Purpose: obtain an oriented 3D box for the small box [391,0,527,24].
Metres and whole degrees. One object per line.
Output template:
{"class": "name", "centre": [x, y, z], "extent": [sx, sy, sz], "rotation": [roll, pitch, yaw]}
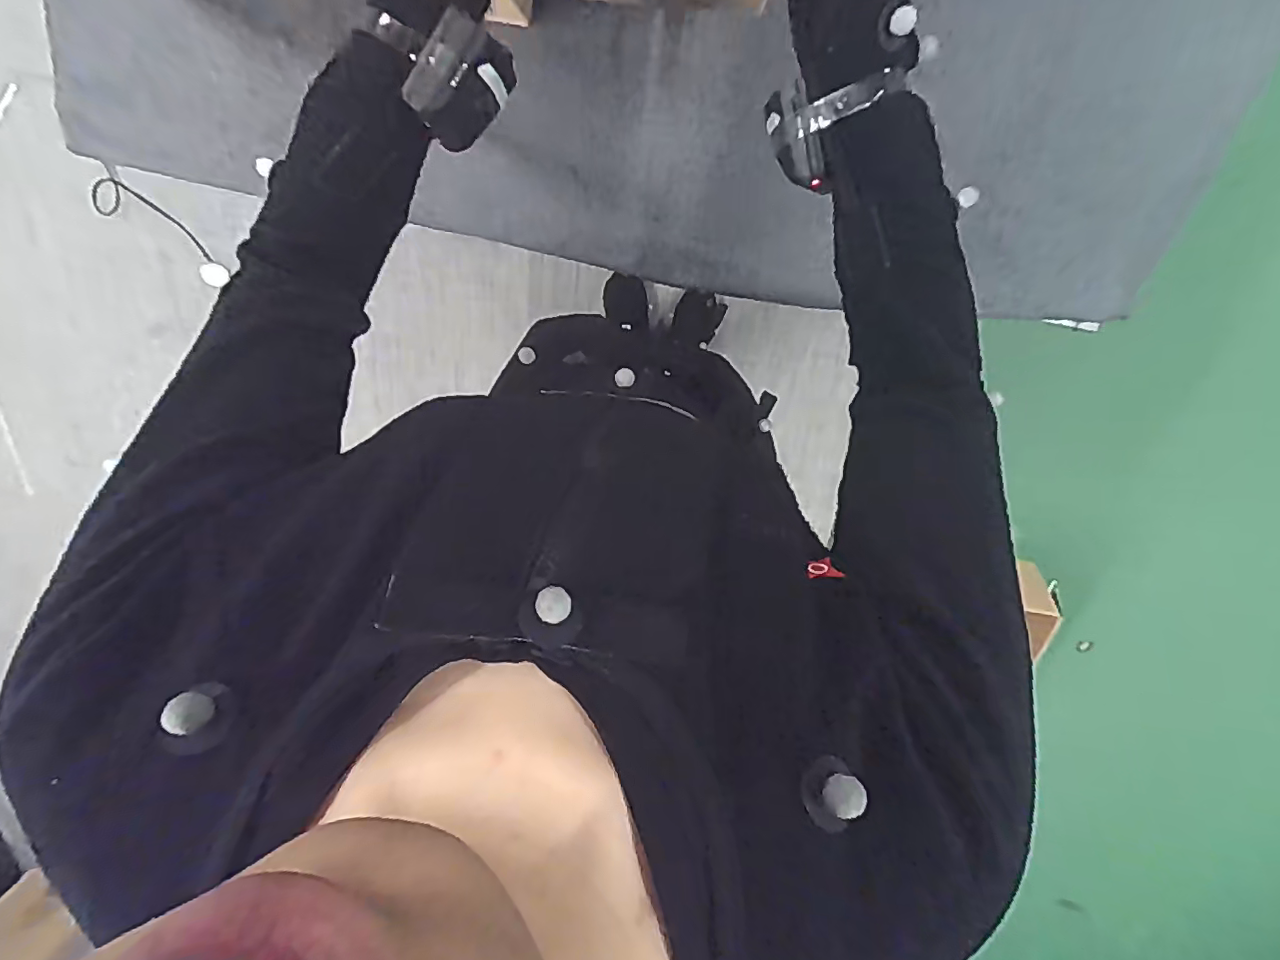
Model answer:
{"class": "small box", "centre": [-0.188, -0.521, 0.447], "extent": [0.168, 0.176, 0.179], "rotation": [10, 113, 1]}
